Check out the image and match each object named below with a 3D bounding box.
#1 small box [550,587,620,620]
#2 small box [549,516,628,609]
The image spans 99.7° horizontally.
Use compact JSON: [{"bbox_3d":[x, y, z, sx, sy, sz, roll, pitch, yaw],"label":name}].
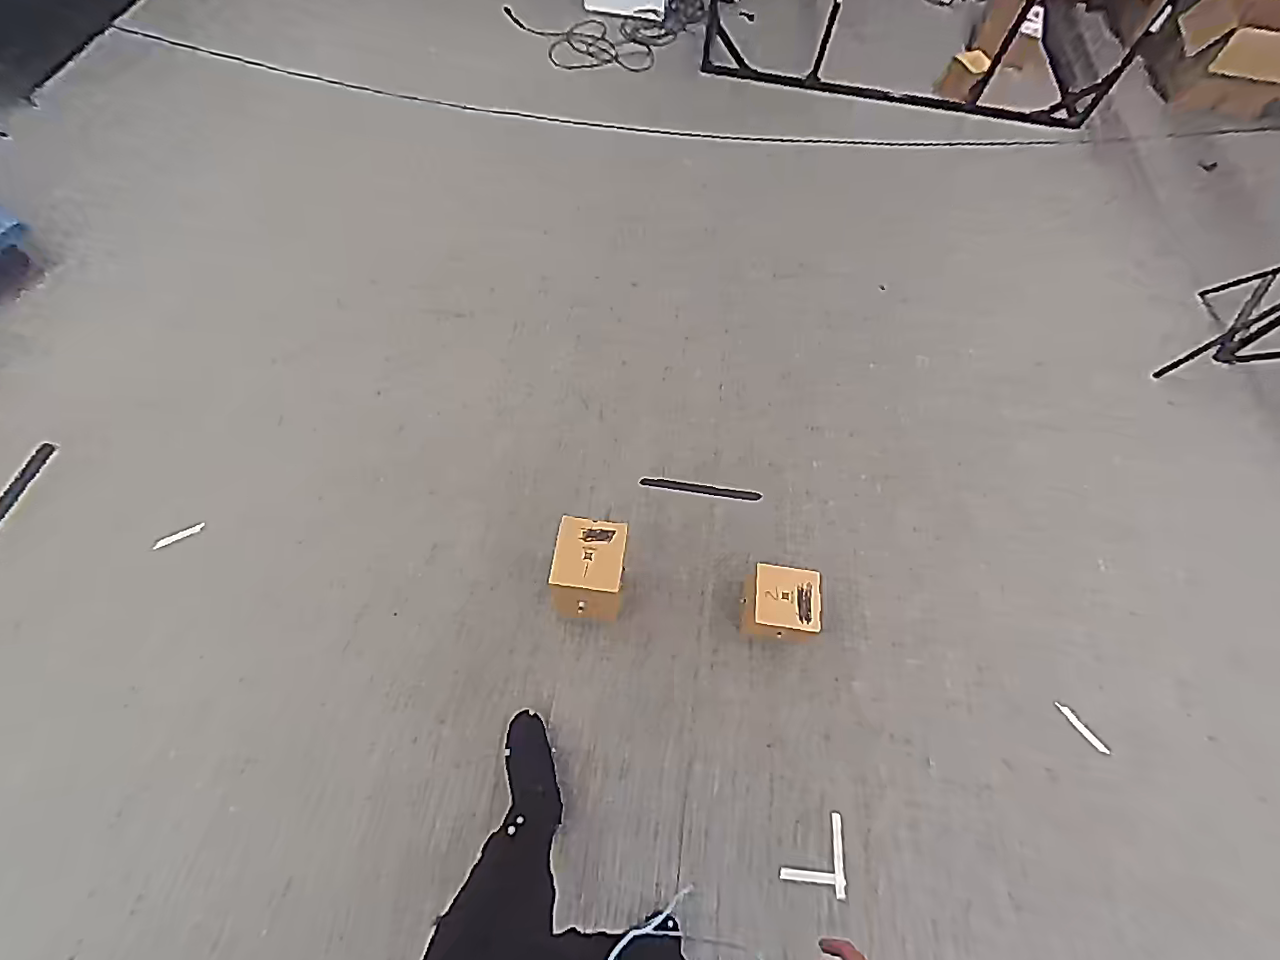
[{"bbox_3d":[-0.142,0.285,1.501,0.179,0.176,0.168,8,63,1],"label":"small box"},{"bbox_3d":[-0.126,0.210,1.356,0.168,0.176,0.179,8,64,1],"label":"small box"}]
